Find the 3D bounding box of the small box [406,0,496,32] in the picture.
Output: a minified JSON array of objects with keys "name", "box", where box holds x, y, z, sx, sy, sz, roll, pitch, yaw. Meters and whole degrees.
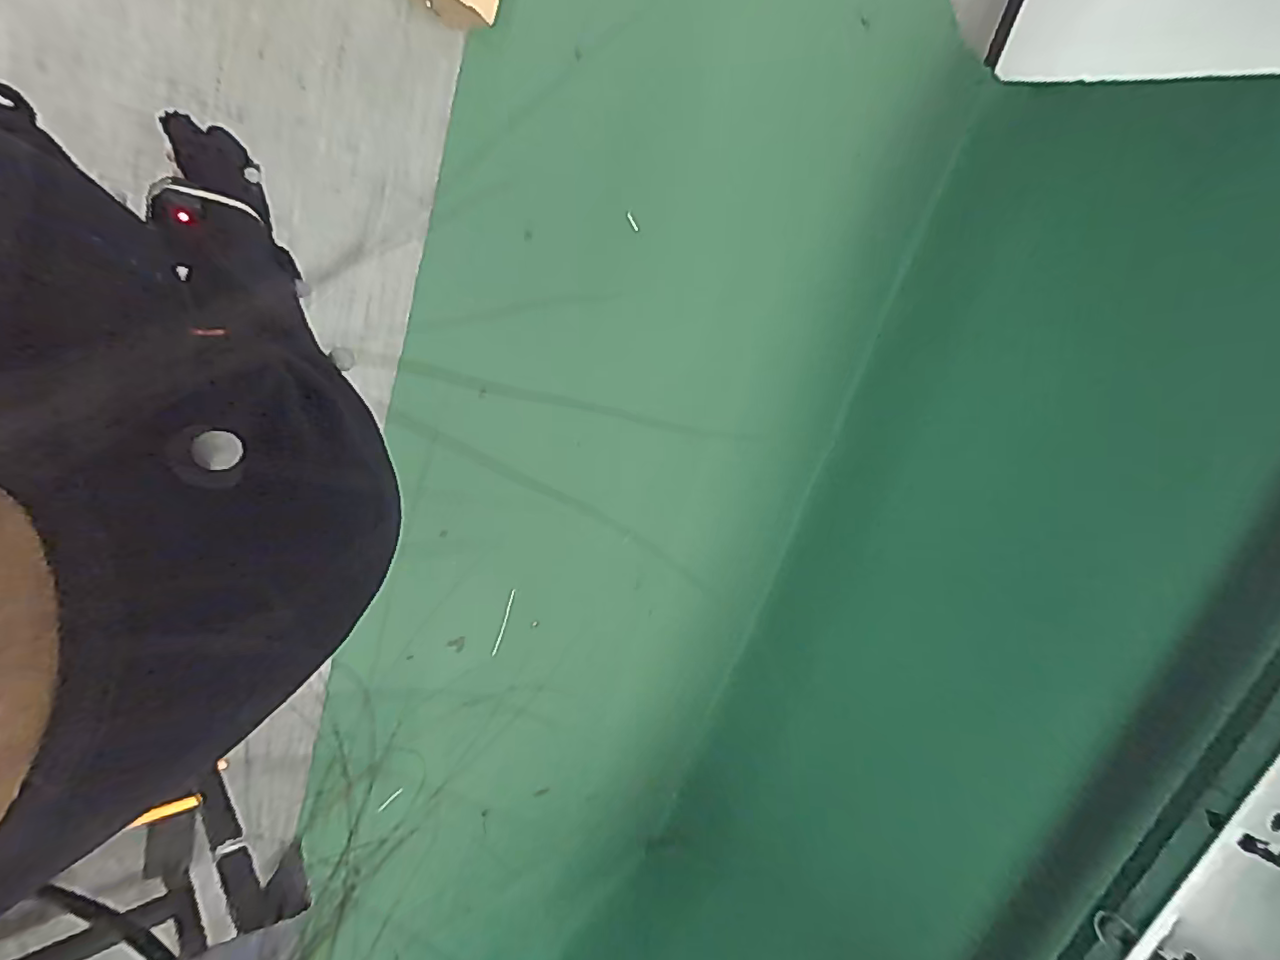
[{"name":"small box","box":[-0.414,-1.112,1.159,0.168,0.176,0.179,4,111,-51]}]
